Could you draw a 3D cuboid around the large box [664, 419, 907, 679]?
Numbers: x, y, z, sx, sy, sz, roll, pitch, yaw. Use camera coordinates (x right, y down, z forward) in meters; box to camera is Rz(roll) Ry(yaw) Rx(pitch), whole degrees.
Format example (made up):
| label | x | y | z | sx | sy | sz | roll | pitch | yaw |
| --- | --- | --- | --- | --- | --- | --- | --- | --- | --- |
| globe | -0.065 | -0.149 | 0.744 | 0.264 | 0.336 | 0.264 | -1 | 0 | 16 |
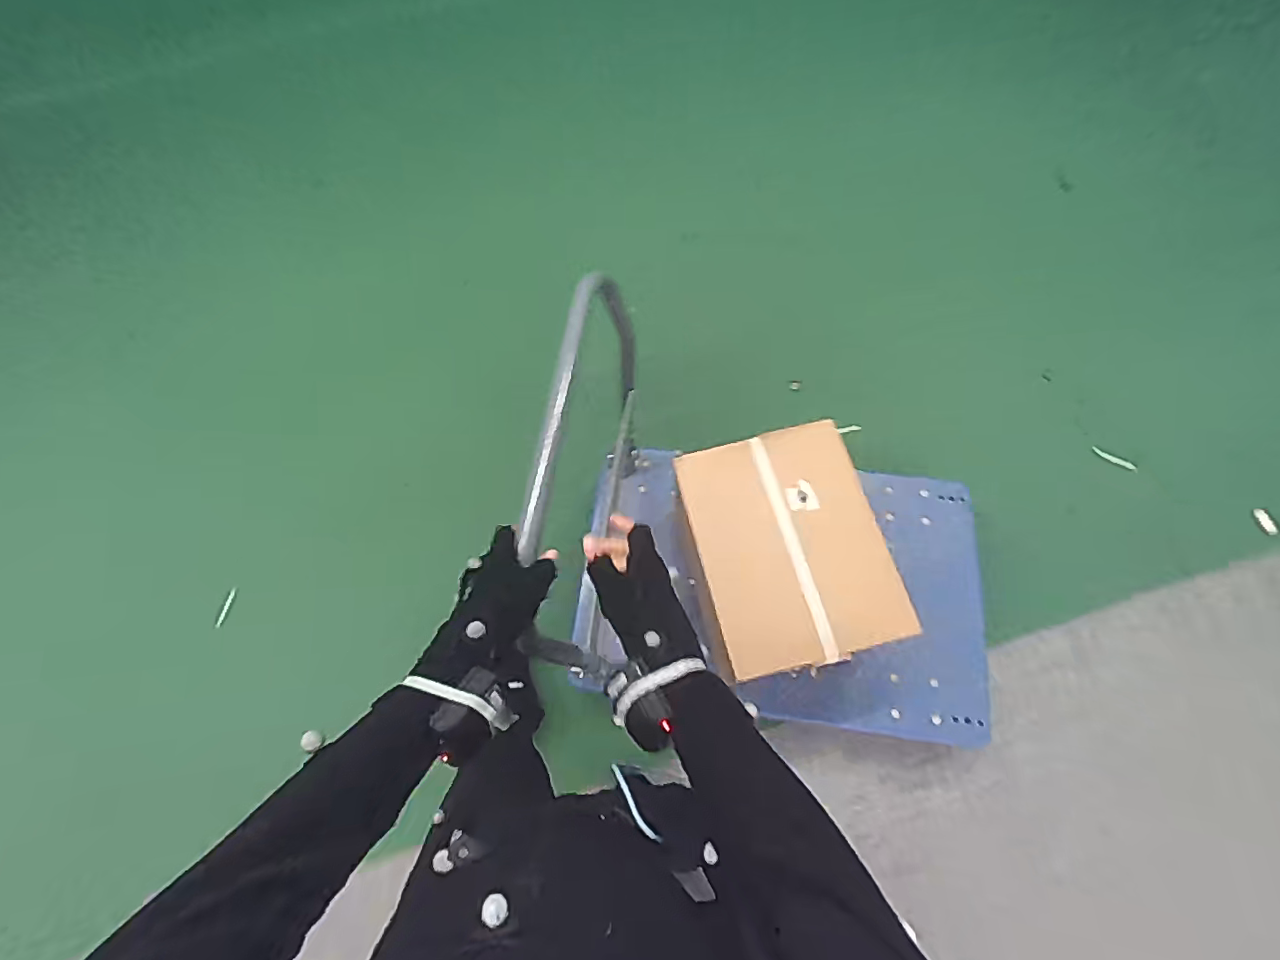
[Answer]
| label | x | y | z | sx | sy | sz | roll | pitch | yaw |
| --- | --- | --- | --- | --- | --- | --- | --- | --- | --- |
| large box | 0.254 | 0.152 | 1.087 | 0.320 | 0.320 | 0.408 | -14 | 67 | -2 |
